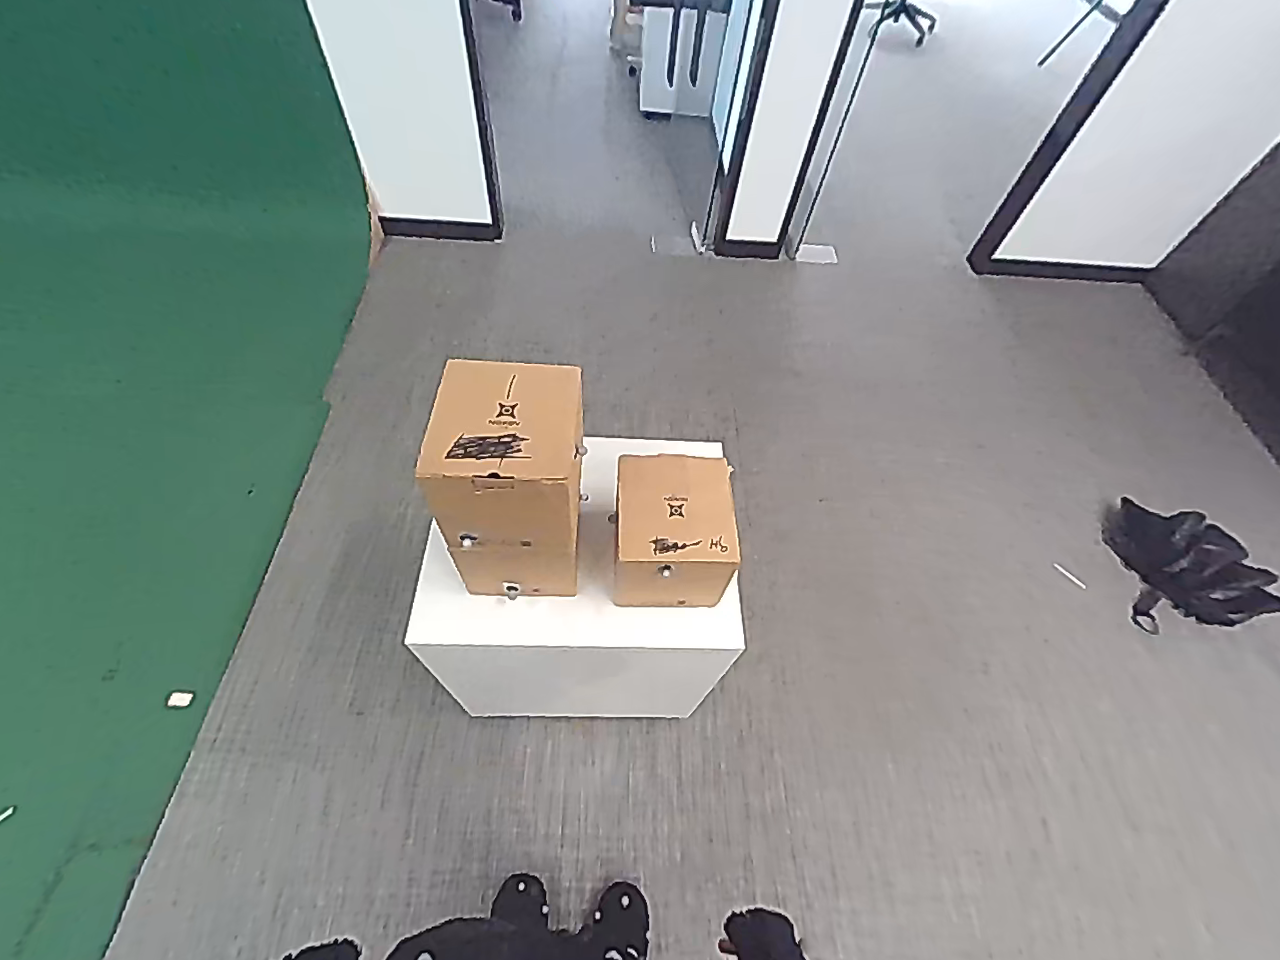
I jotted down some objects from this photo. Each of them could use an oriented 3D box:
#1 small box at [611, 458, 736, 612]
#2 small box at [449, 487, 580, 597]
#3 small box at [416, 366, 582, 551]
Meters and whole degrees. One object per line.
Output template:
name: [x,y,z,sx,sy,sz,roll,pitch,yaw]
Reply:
small box: [0.041,0.088,0.837,0.168,0.176,0.179,2,55,-4]
small box: [-0.177,0.063,0.817,0.168,0.176,0.179,0,57,-5]
small box: [-0.164,-0.022,0.696,0.168,0.176,0.179,3,54,-3]
